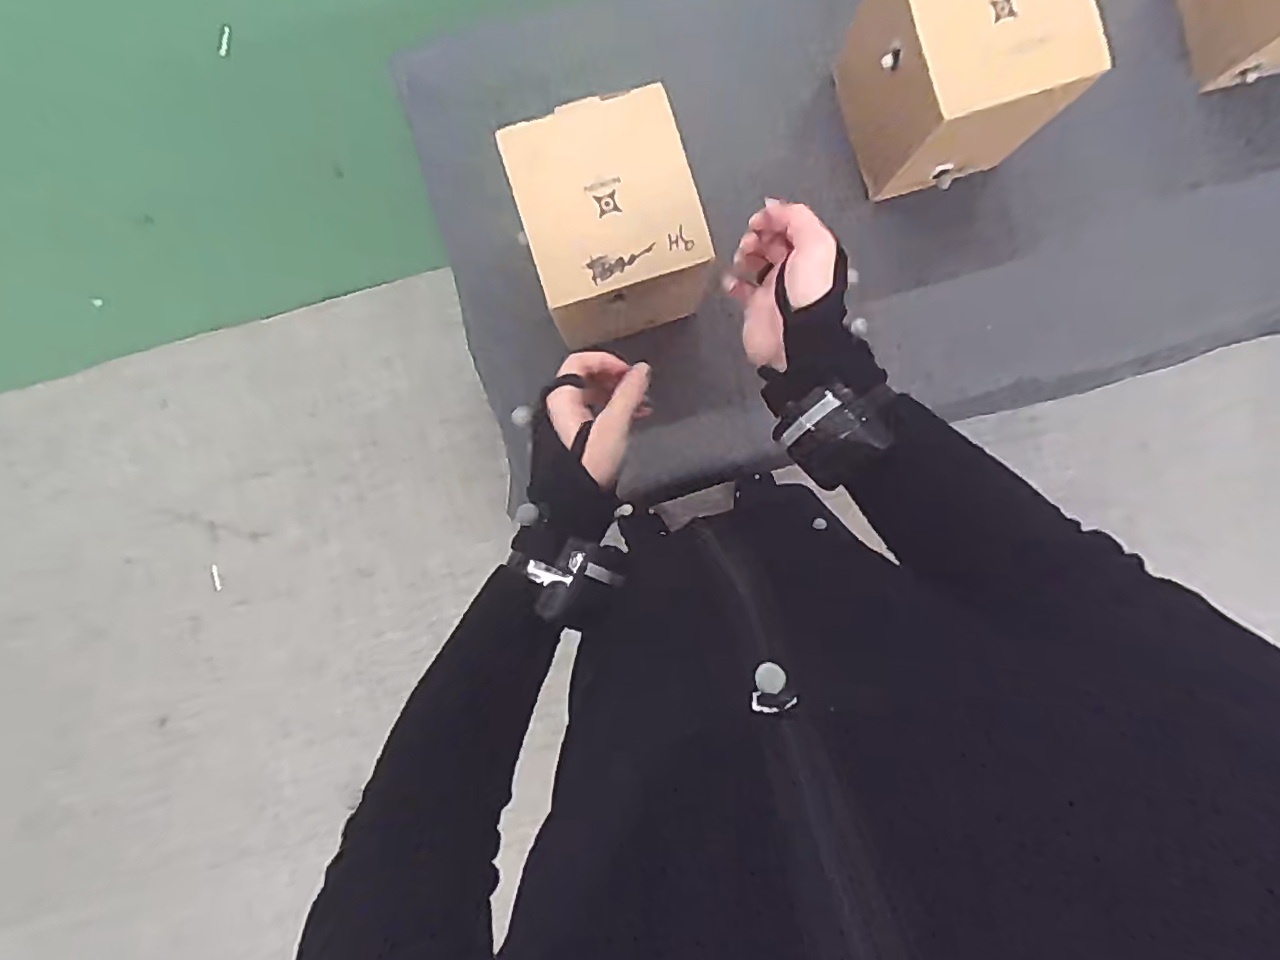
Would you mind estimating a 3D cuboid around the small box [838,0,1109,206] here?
[{"bbox_3d":[0.337,-0.437,0.584,0.168,0.176,0.179,-18,92,1],"label":"small box"}]

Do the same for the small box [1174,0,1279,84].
[{"bbox_3d":[0.736,-0.570,0.581,0.168,0.176,0.179,-15,91,0],"label":"small box"}]

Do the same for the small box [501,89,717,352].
[{"bbox_3d":[-0.030,-0.259,0.582,0.168,0.176,0.179,-17,90,1],"label":"small box"}]
